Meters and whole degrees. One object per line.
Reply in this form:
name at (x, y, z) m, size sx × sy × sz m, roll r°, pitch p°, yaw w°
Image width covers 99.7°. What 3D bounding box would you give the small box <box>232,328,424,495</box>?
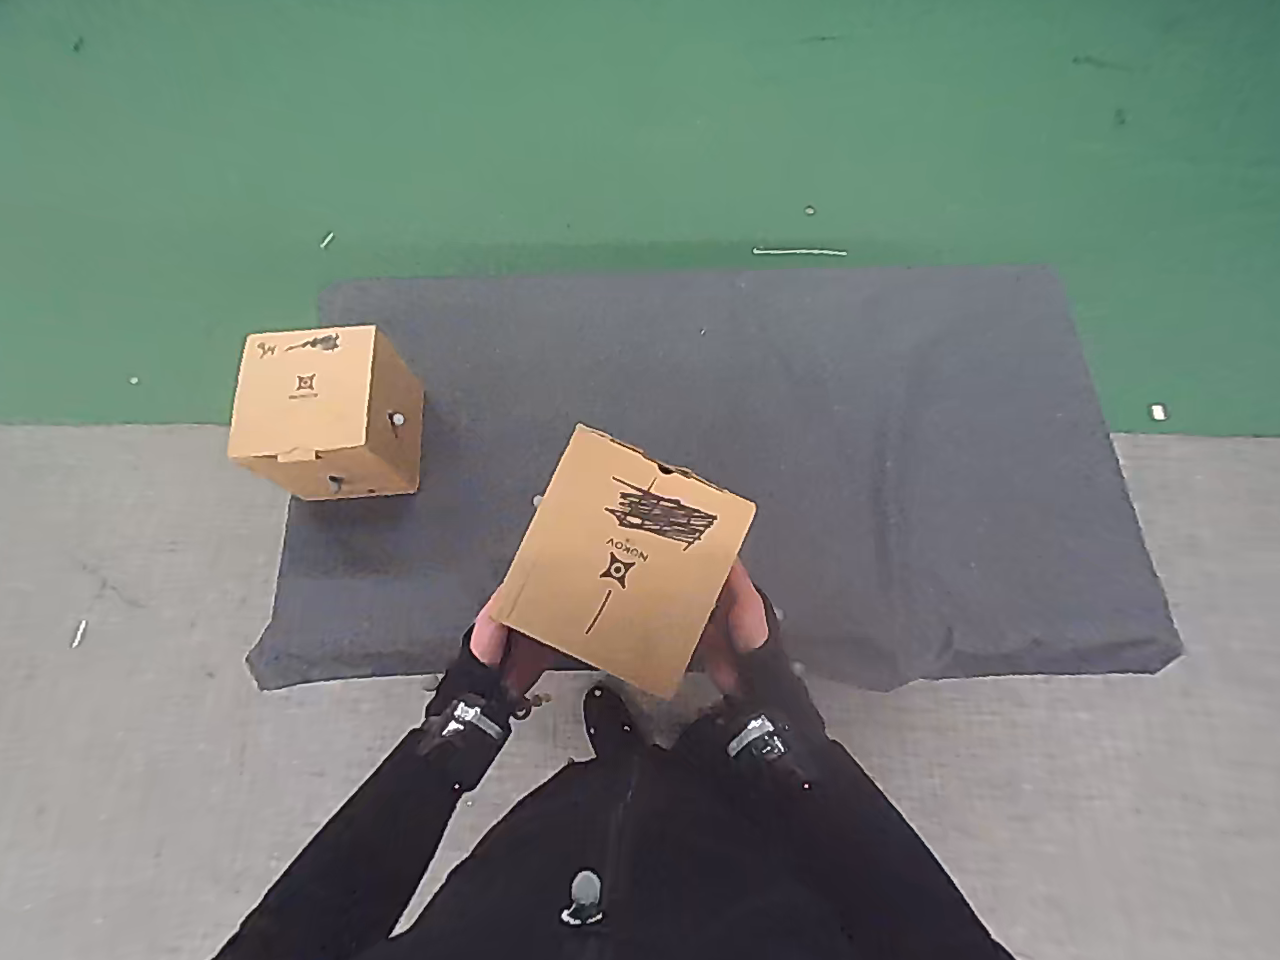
small box at (-0.410, -0.083, 0.744) m, size 0.168 × 0.176 × 0.179 m, roll -5°, pitch 71°, yaw -1°
